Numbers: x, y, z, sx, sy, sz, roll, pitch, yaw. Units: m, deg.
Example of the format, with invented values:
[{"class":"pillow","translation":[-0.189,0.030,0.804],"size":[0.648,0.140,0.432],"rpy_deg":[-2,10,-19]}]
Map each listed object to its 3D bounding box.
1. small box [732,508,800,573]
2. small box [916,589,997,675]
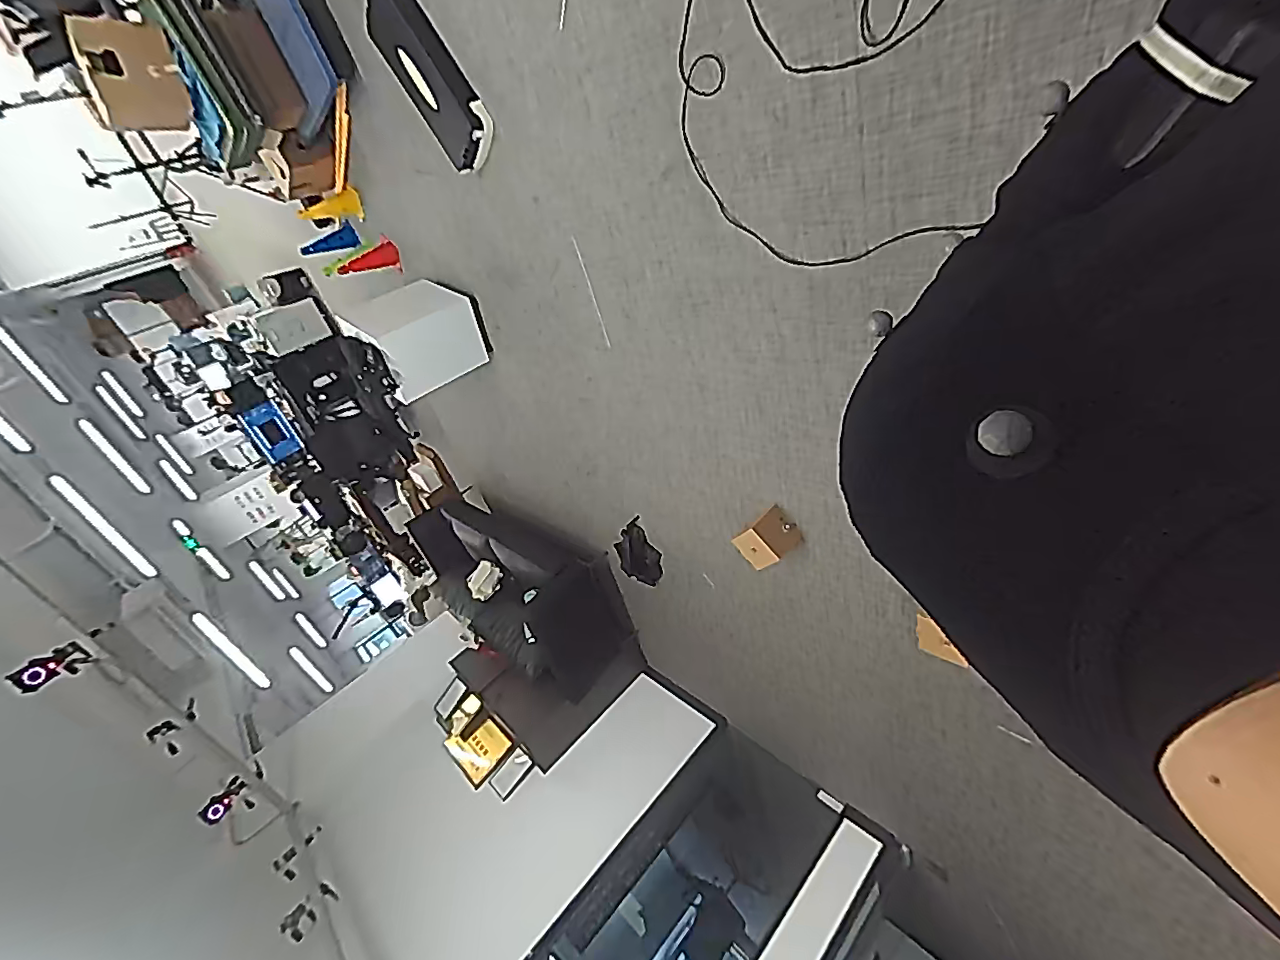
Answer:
[{"class":"small box","translation":[0.509,0.243,2.175],"size":[0.168,0.176,0.179],"rpy_deg":[48,150,6]},{"class":"small box","translation":[1.001,0.471,1.707],"size":[0.179,0.176,0.168],"rpy_deg":[17,136,47]}]
